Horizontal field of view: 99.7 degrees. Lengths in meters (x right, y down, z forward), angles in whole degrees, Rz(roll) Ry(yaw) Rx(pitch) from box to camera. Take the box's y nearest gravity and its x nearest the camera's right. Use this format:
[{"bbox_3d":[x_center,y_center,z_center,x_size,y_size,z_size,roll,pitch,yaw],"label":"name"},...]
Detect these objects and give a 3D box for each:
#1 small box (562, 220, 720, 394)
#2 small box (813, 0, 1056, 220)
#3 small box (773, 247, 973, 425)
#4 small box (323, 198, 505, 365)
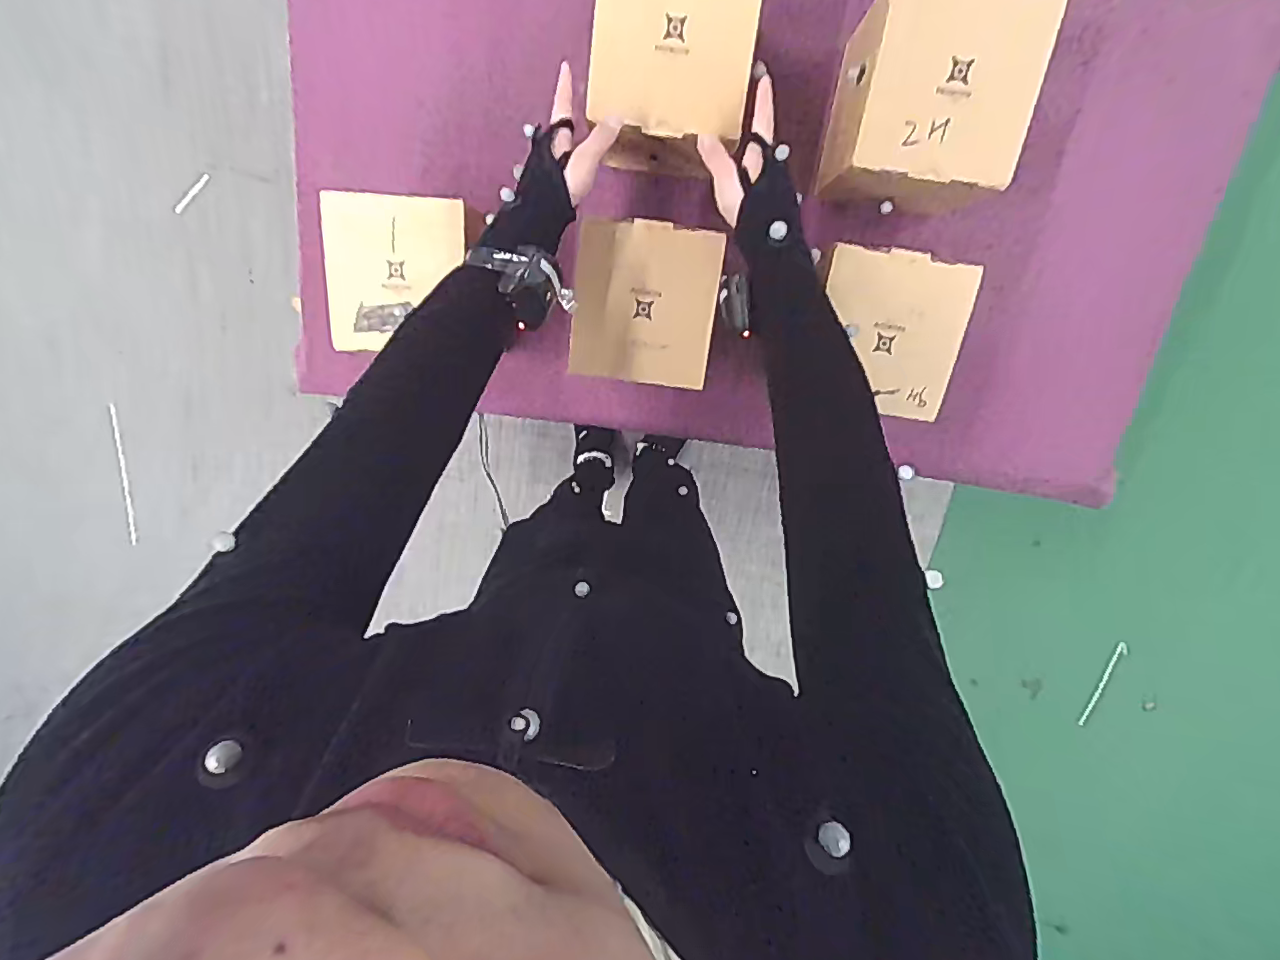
[{"bbox_3d":[0.004,-0.220,0.702,0.168,0.176,0.179,9,107,3],"label":"small box"},{"bbox_3d":[0.310,-0.415,0.617,0.168,0.176,0.179,9,108,2],"label":"small box"},{"bbox_3d":[0.277,-0.182,0.691,0.168,0.176,0.179,10,106,2],"label":"small box"},{"bbox_3d":[-0.282,-0.251,0.711,0.168,0.176,0.179,6,105,2],"label":"small box"}]
